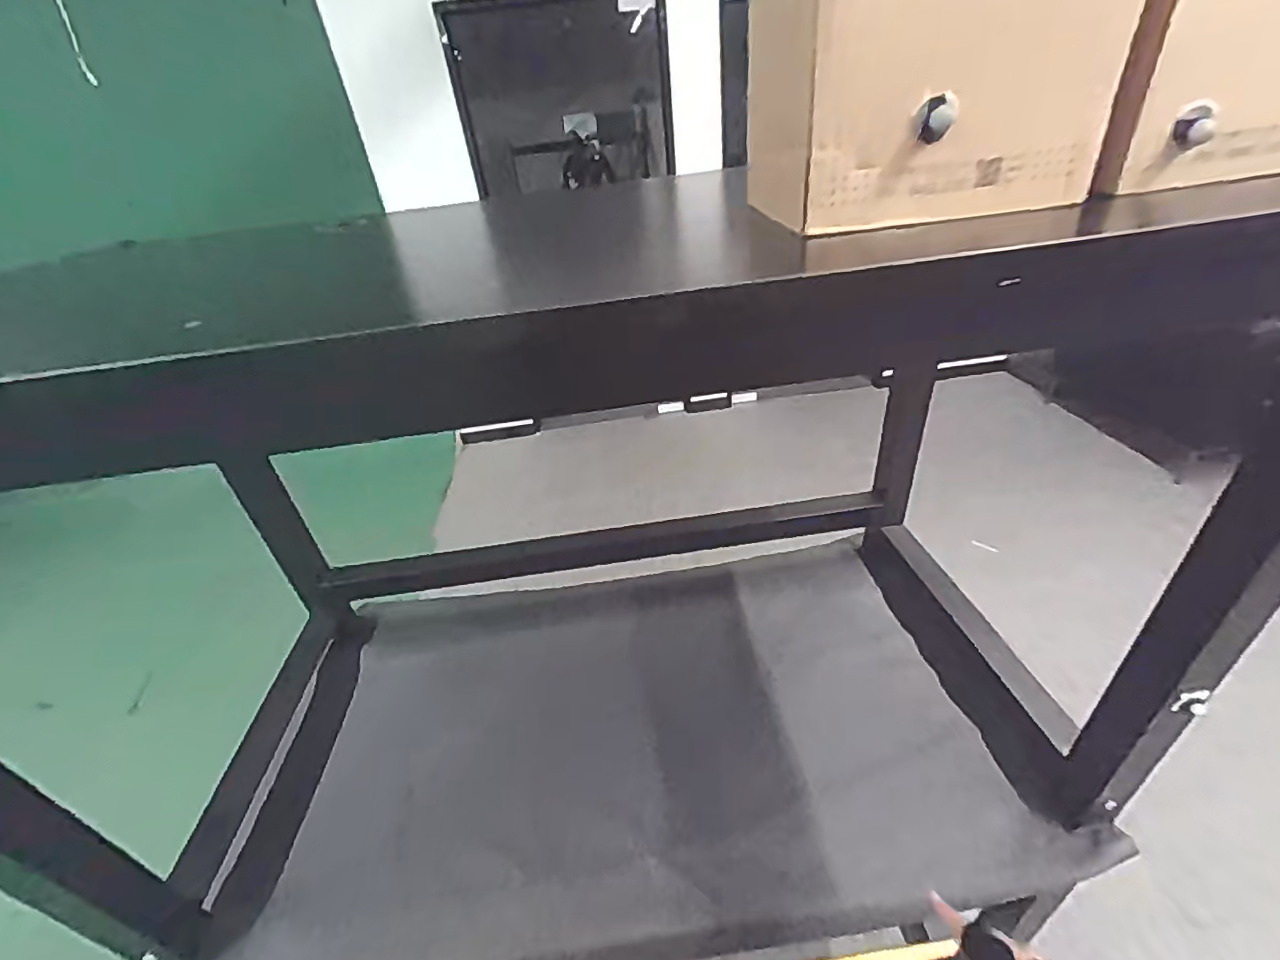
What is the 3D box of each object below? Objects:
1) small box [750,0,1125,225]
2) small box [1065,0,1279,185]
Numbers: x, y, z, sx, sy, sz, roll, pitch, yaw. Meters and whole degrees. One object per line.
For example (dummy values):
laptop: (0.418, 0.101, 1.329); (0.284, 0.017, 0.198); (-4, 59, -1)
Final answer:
small box: (0.168, -0.273, 0.356); (0.168, 0.176, 0.179); (-5, 33, 2)
small box: (0.349, -0.298, 0.354); (0.168, 0.176, 0.179); (-7, 32, 2)
